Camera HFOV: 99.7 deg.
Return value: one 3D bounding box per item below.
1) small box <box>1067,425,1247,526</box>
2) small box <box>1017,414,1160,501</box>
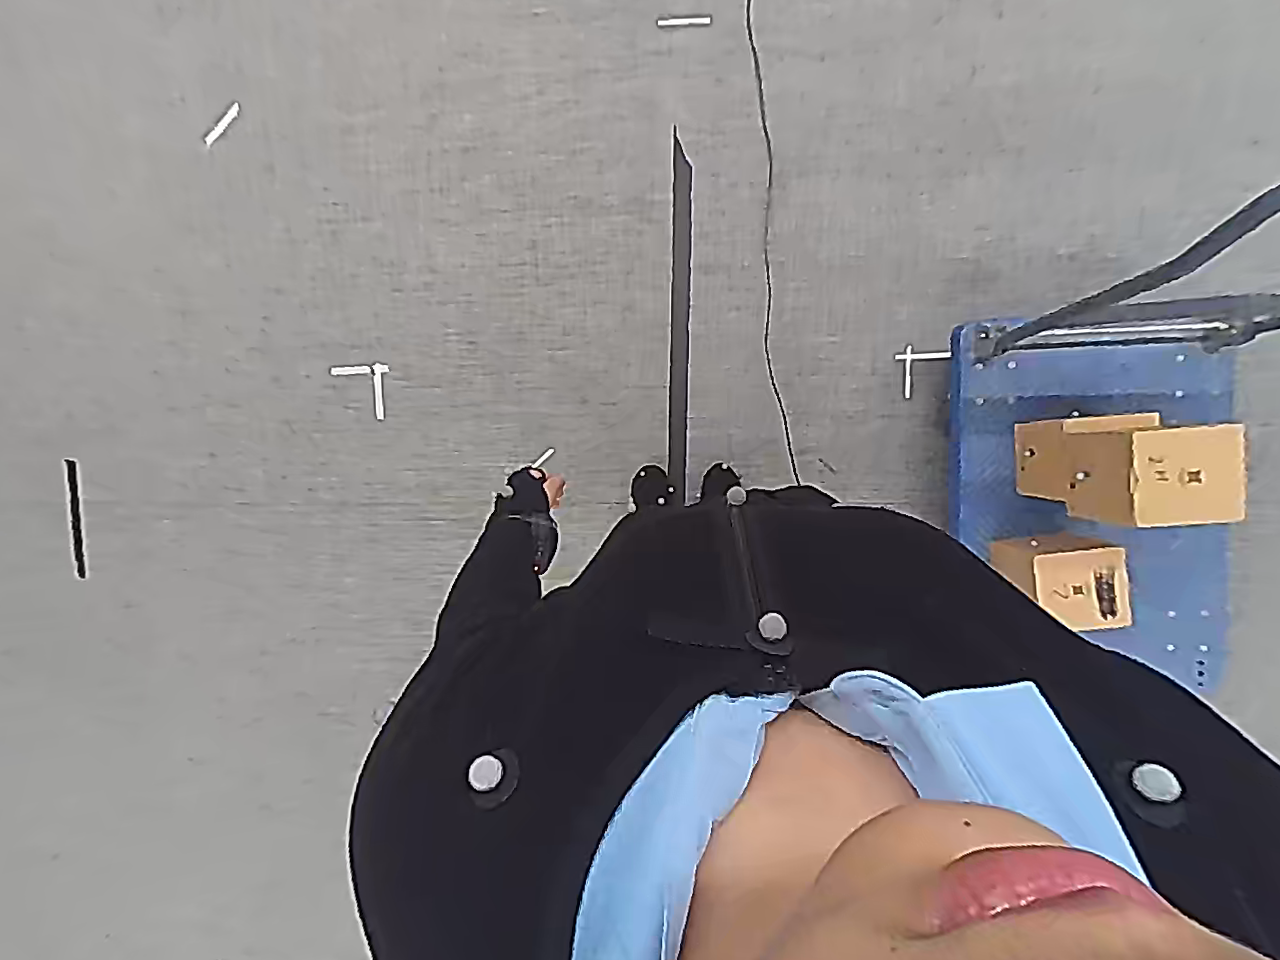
[{"bbox_3d":[0.929,-0.013,0.986,0.179,0.176,0.168,-4,93,6],"label":"small box"},{"bbox_3d":[0.942,-0.051,1.148,0.179,0.176,0.168,-5,94,6],"label":"small box"}]
